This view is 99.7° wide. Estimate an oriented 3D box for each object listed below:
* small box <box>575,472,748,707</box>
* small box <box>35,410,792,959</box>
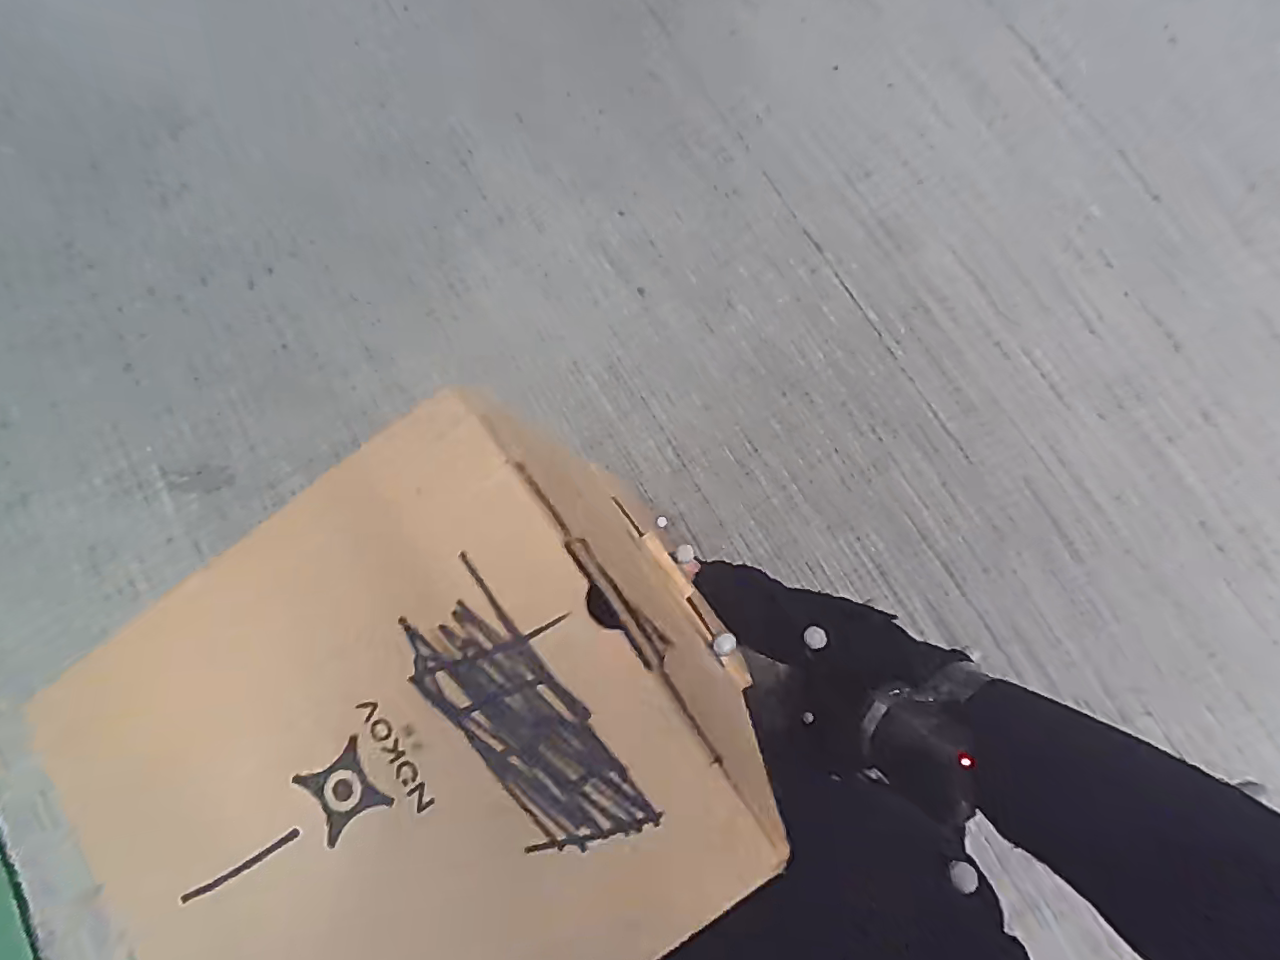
[{"bbox_3d":[-0.045,0.116,0.399,0.179,0.176,0.168,-36,80,2],"label":"small box"},{"bbox_3d":[-0.066,0.099,0.238,0.179,0.176,0.168,-38,82,0],"label":"small box"}]
